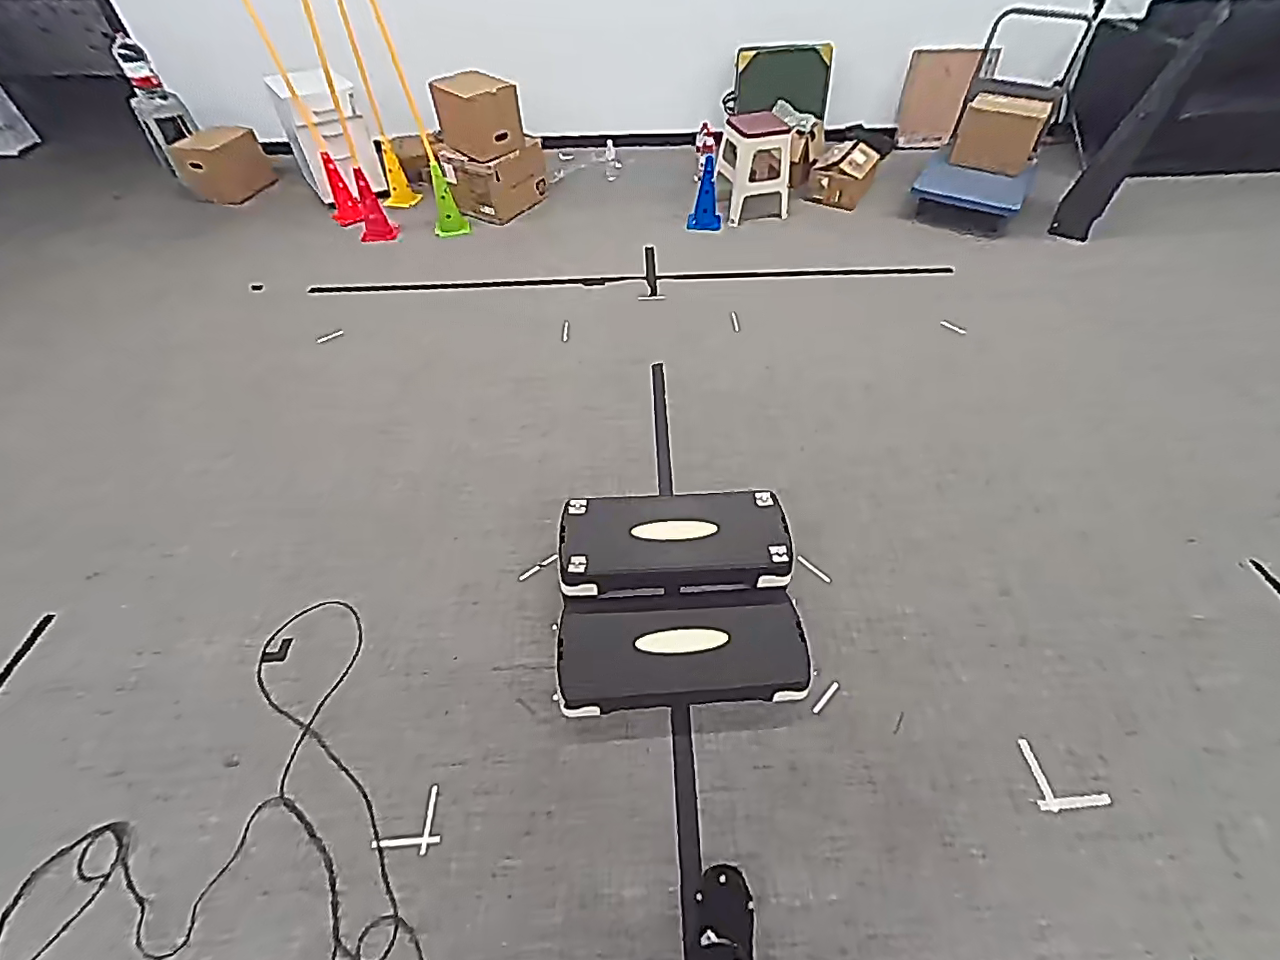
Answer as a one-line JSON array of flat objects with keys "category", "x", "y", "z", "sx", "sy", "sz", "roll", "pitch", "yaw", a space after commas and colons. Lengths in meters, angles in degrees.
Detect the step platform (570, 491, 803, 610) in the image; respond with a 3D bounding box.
[{"category": "step platform", "x": 0.132, "y": 0.204, "z": 1.634, "sx": 0.684, "sy": 0.204, "sz": 0.286, "roll": -3, "pitch": 49, "yaw": -3}]
